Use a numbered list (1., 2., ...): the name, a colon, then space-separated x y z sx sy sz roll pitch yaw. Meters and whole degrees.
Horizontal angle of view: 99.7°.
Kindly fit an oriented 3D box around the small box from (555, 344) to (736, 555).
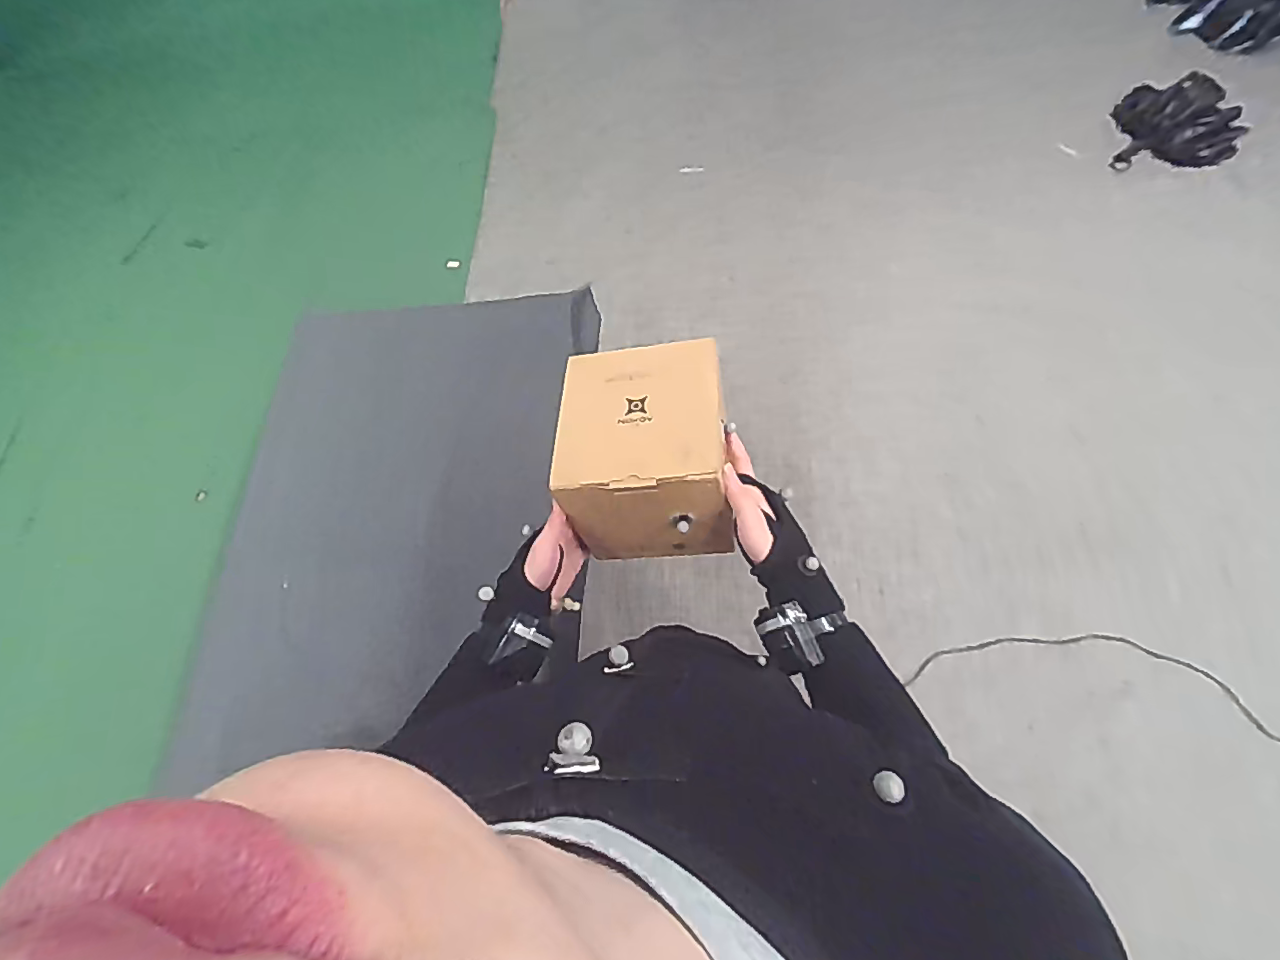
1. small box: 0.018 -0.023 0.607 0.168 0.176 0.179 -4 56 11
